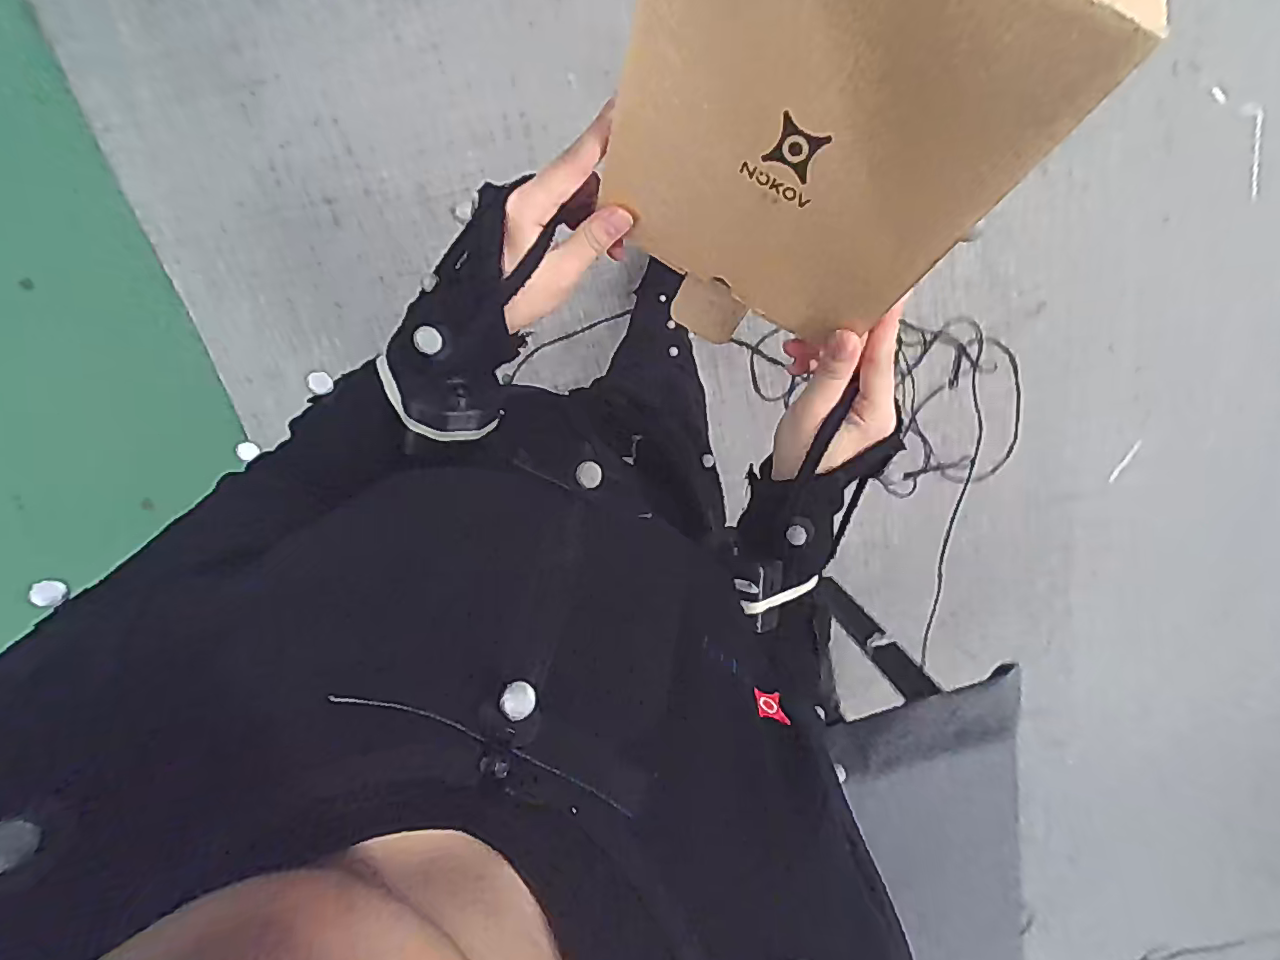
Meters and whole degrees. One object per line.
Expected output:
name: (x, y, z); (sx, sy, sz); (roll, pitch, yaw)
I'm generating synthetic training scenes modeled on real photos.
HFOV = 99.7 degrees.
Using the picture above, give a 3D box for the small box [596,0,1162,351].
small box: (0.097, -0.208, 0.270); (0.168, 0.179, 0.176); (27, 65, -2)
